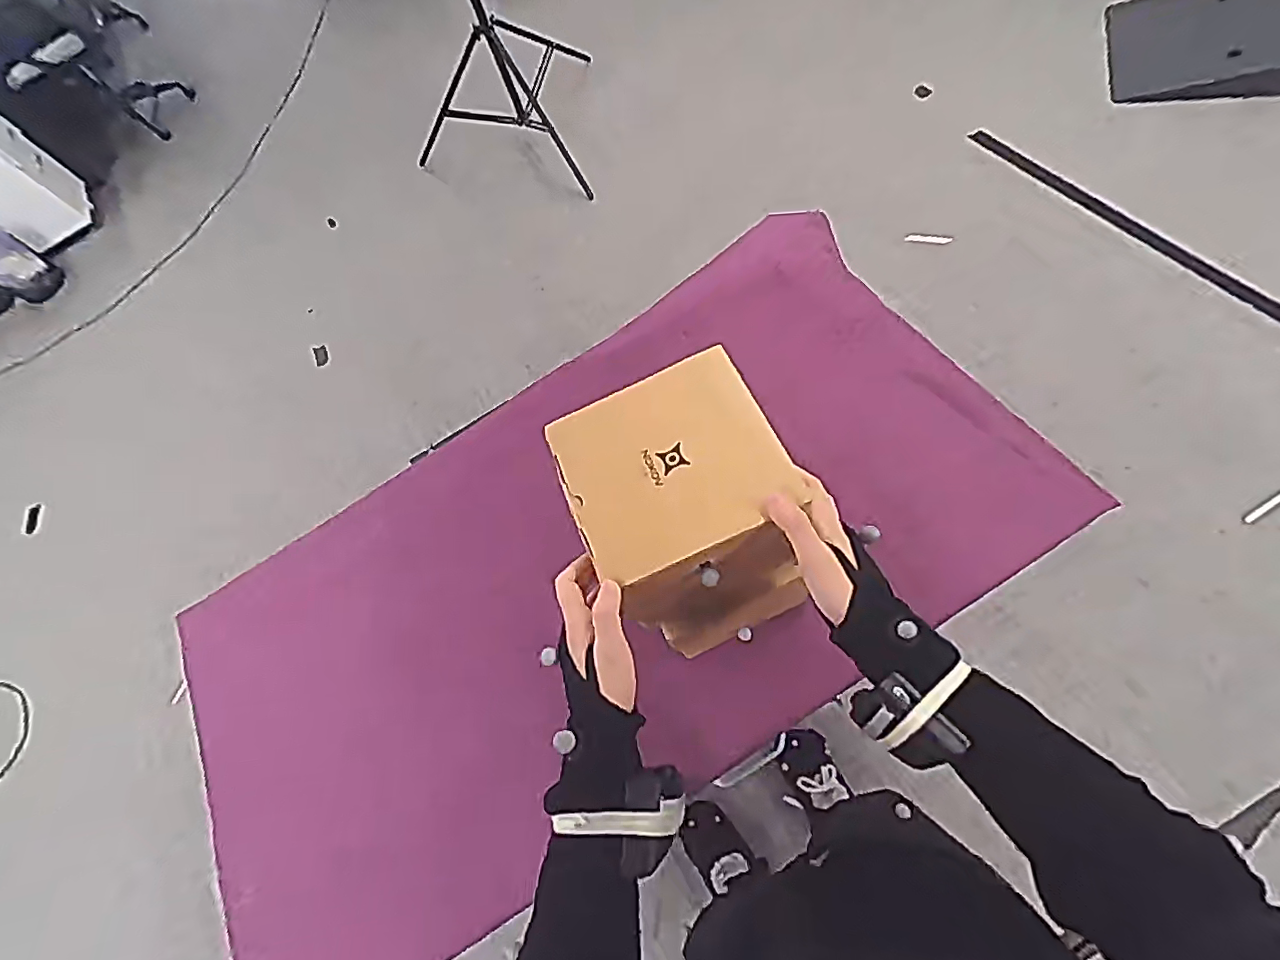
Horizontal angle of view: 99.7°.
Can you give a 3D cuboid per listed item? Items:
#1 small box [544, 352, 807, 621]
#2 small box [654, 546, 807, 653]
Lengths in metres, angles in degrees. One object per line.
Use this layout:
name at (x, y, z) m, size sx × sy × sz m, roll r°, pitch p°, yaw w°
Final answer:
small box at (0.037, 0.018, 0.516) m, size 0.179 × 0.176 × 0.168 m, roll -25°, pitch 64°, yaw 3°
small box at (0.080, 0.091, 0.655) m, size 0.168 × 0.176 × 0.179 m, roll -27°, pitch 64°, yaw 2°
